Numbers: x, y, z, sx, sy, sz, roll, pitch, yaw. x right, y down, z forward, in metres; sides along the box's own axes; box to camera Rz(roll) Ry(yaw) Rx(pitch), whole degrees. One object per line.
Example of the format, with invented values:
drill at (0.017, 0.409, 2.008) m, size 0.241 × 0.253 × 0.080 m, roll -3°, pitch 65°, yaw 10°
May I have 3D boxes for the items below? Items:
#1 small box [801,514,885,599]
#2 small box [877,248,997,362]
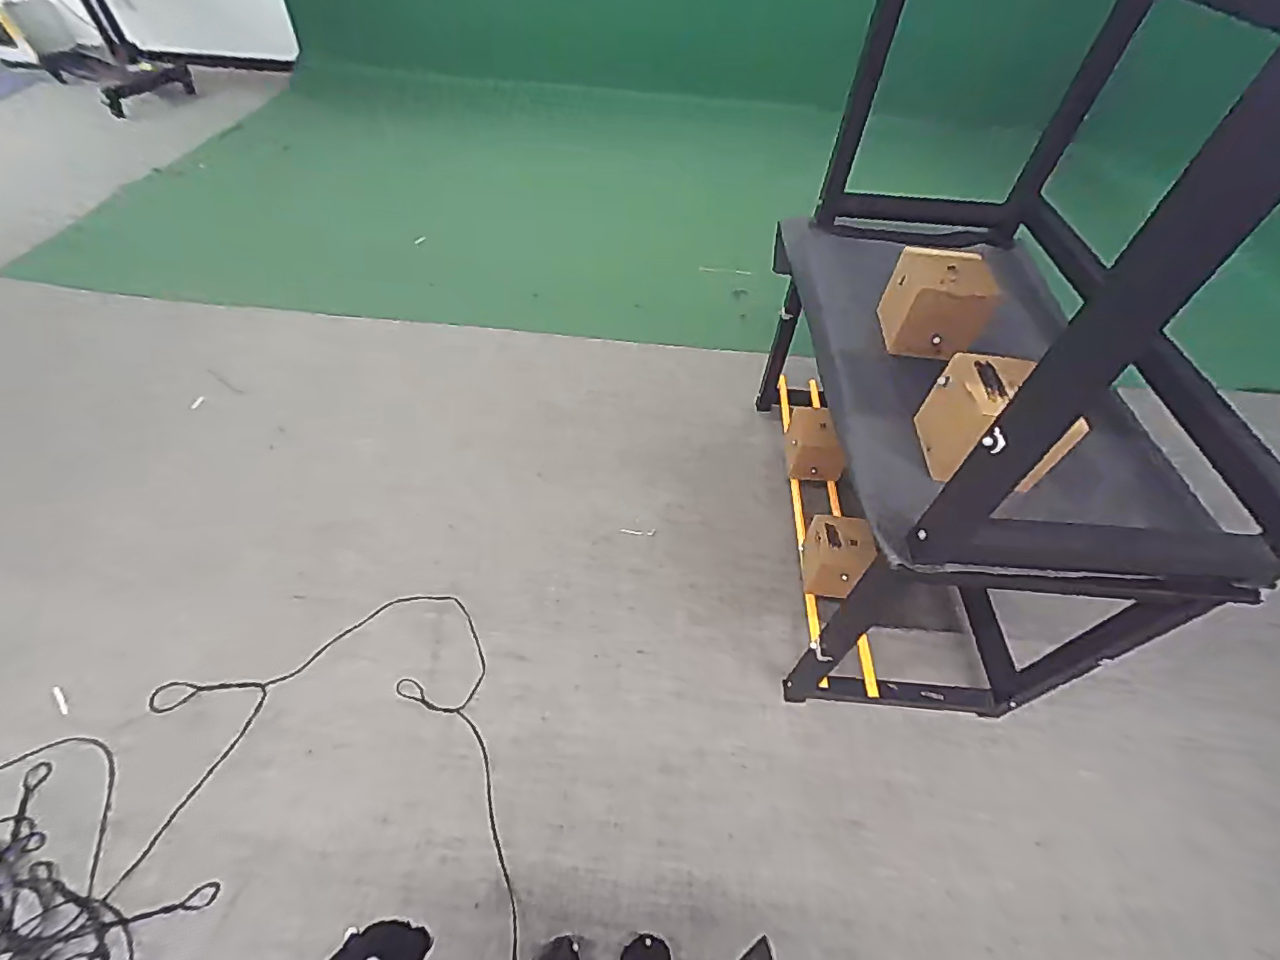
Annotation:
small box at (0.558, 0.219, 1.516) m, size 0.179 × 0.176 × 0.168 m, roll 7°, pitch 51°, yaw 3°
small box at (0.652, -0.392, 1.216) m, size 0.168 × 0.176 × 0.179 m, roll 7°, pitch 51°, yaw 2°
